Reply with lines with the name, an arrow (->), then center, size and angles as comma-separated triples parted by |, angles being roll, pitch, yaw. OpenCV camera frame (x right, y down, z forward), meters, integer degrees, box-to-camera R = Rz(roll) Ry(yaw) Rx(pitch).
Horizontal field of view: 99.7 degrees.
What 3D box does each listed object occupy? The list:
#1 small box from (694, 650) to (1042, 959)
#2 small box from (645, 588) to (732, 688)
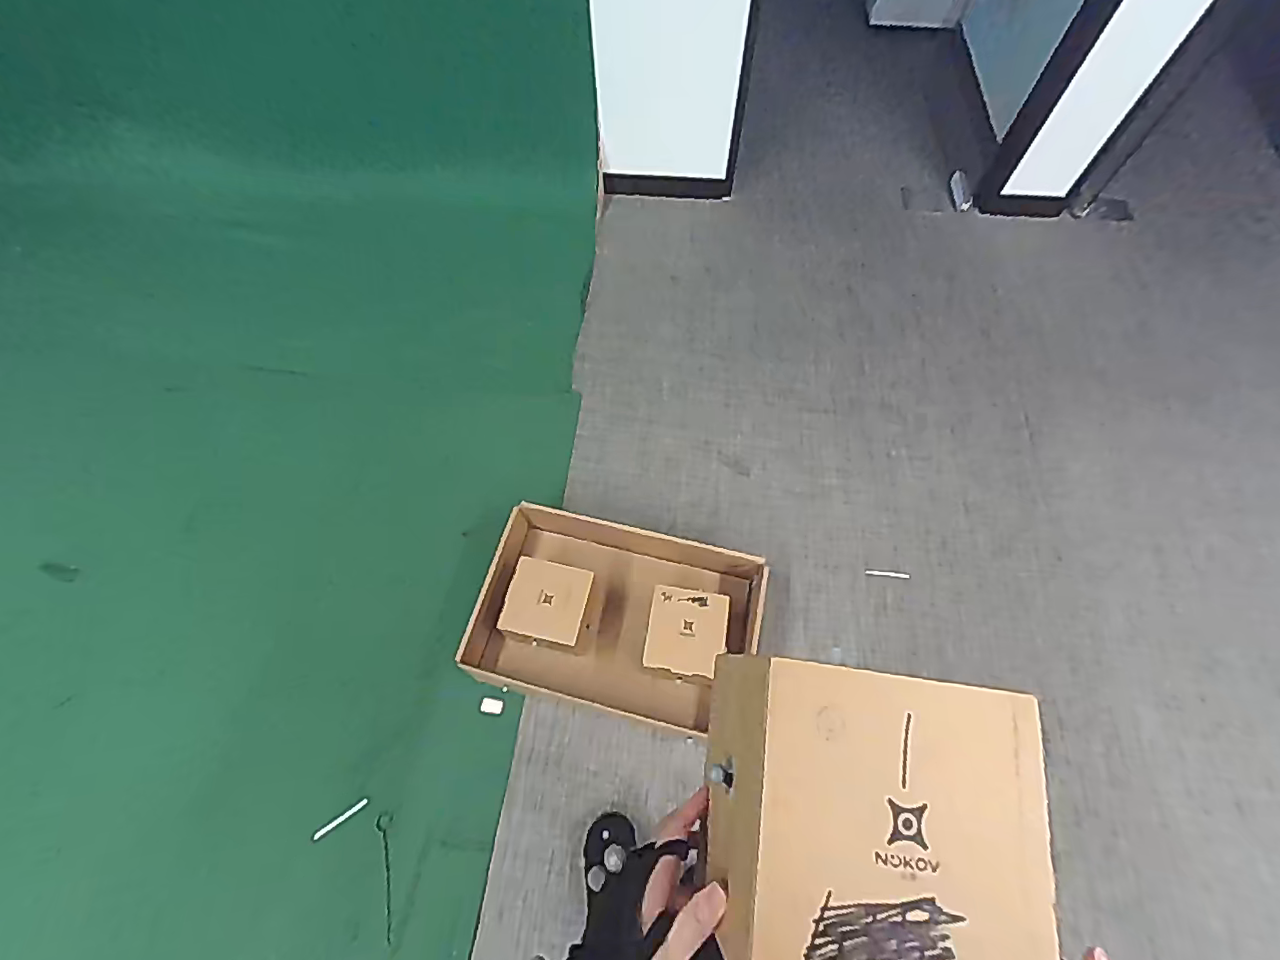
small box -> 0.134, 0.221, 0.376 | 0.168, 0.176, 0.179 | 8, 71, 0
small box -> 0.107, 0.358, 1.206 | 0.168, 0.176, 0.179 | 8, 65, 5
